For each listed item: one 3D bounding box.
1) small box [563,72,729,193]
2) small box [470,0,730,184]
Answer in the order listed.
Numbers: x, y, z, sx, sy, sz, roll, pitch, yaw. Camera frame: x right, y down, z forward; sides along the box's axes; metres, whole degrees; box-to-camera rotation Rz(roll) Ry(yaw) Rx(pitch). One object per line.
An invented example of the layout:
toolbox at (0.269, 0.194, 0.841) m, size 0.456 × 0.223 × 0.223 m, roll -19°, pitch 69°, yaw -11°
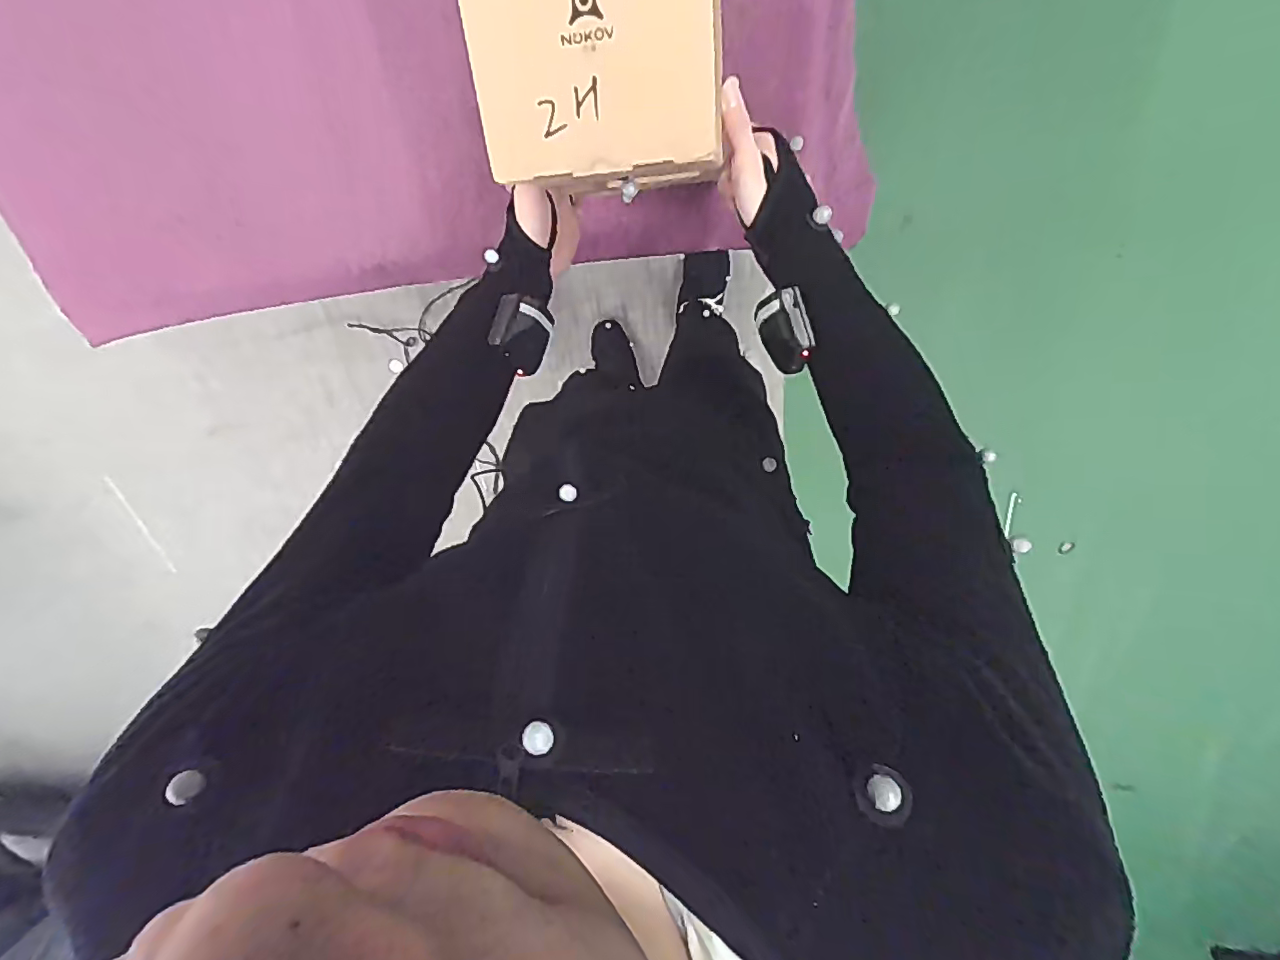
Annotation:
small box at (0.007, -0.405, 0.563) m, size 0.168 × 0.176 × 0.179 m, roll -1°, pitch 118°, yaw 11°
small box at (-0.017, -0.334, 0.413) m, size 0.168 × 0.176 × 0.179 m, roll 0°, pitch 118°, yaw 10°
